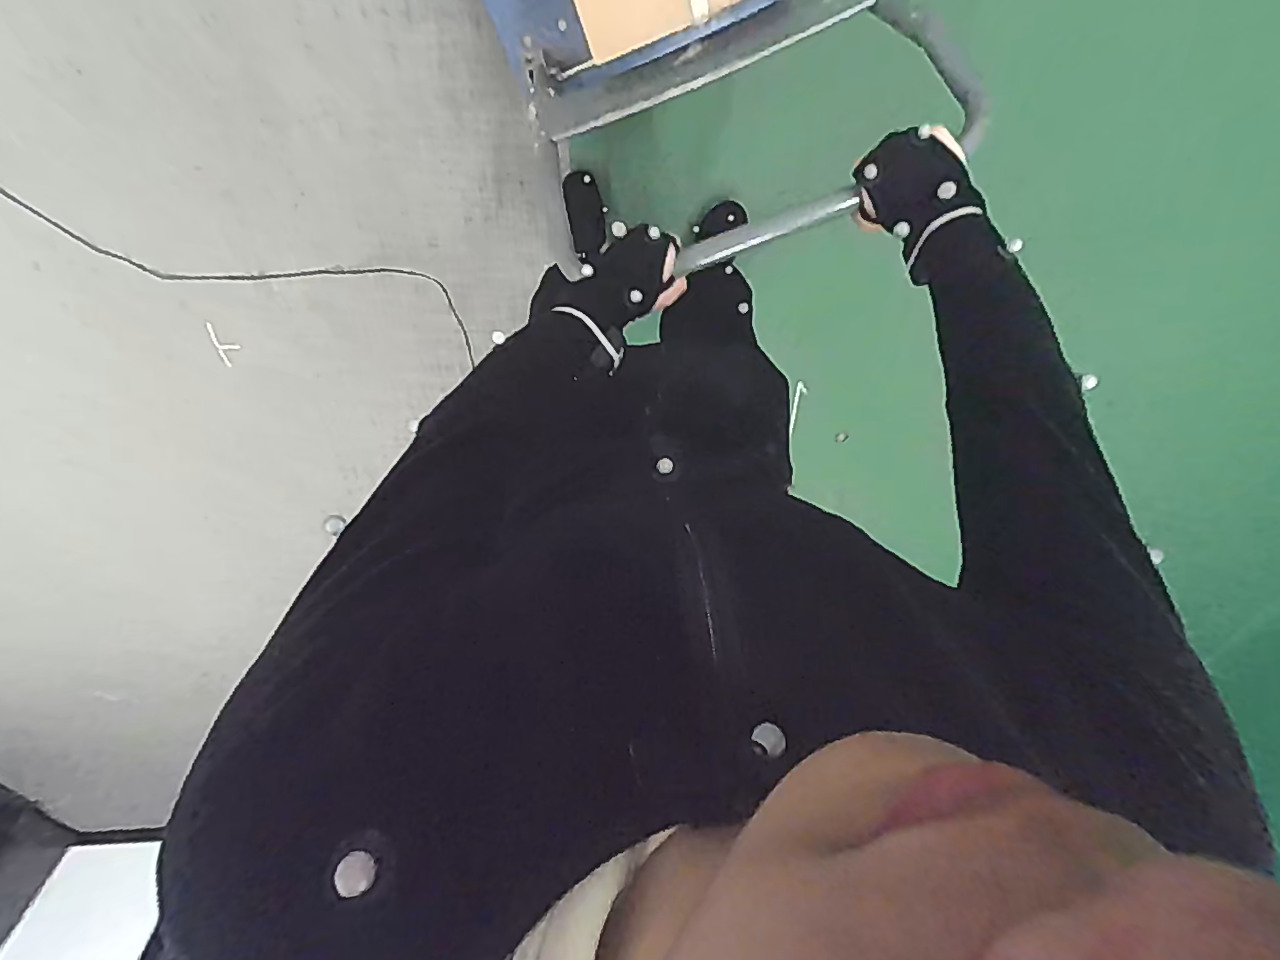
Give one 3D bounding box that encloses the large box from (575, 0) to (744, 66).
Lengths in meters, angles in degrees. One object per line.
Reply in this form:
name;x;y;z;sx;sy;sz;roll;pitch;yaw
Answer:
large box;0.004;-0.867;0.703;0.320;0.320;0.408;-18;139;10
